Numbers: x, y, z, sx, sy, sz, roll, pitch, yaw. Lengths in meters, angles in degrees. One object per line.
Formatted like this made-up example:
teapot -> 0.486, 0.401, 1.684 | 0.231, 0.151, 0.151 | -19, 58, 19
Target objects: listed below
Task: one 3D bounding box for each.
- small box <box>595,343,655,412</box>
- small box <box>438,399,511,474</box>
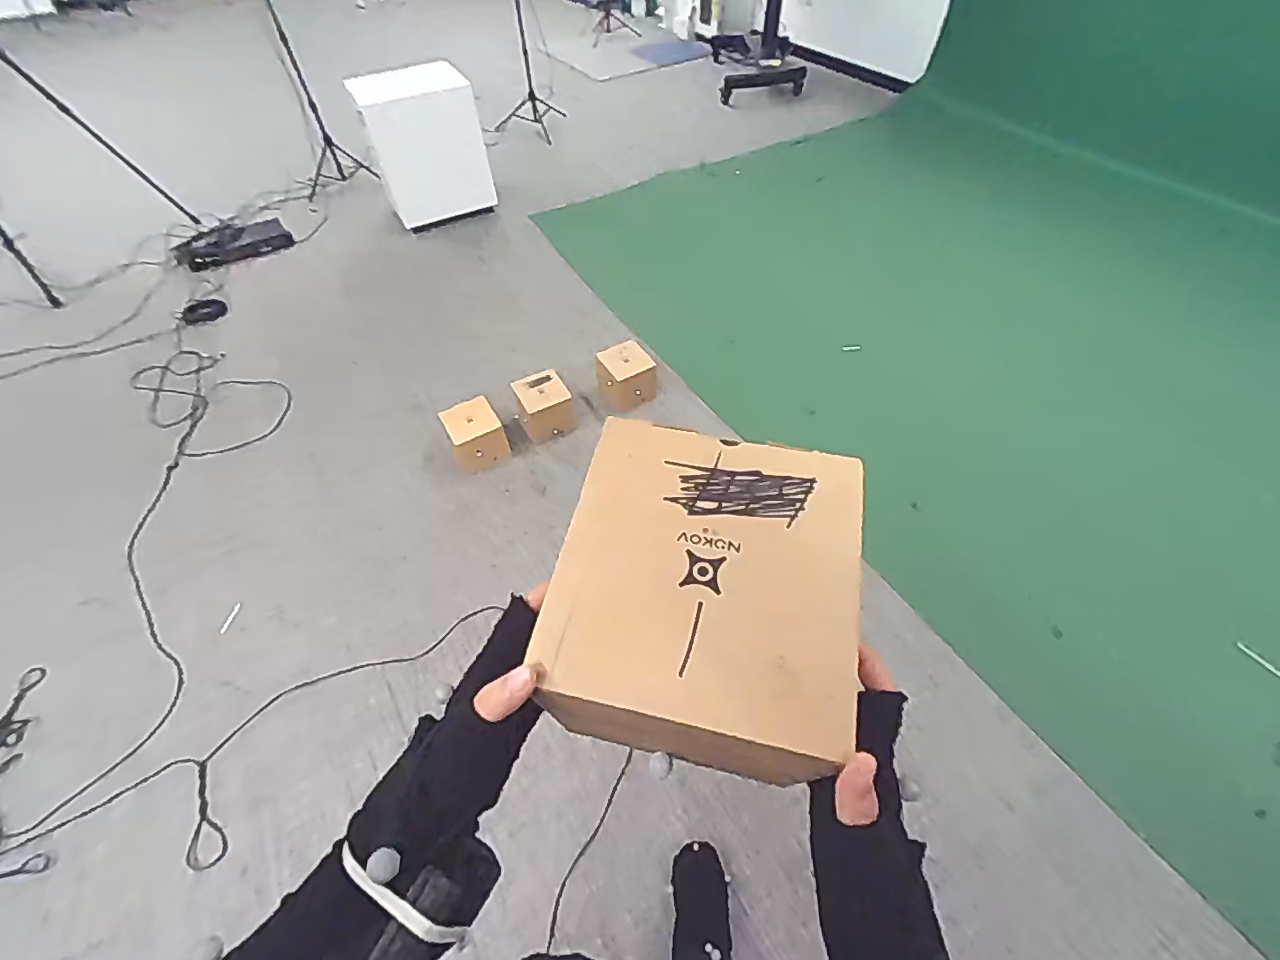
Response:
small box -> -0.054, -0.379, 2.037 | 0.168, 0.176, 0.179 | -26, 56, -19
small box -> -0.565, -0.142, 1.863 | 0.168, 0.176, 0.179 | -27, 56, -18
